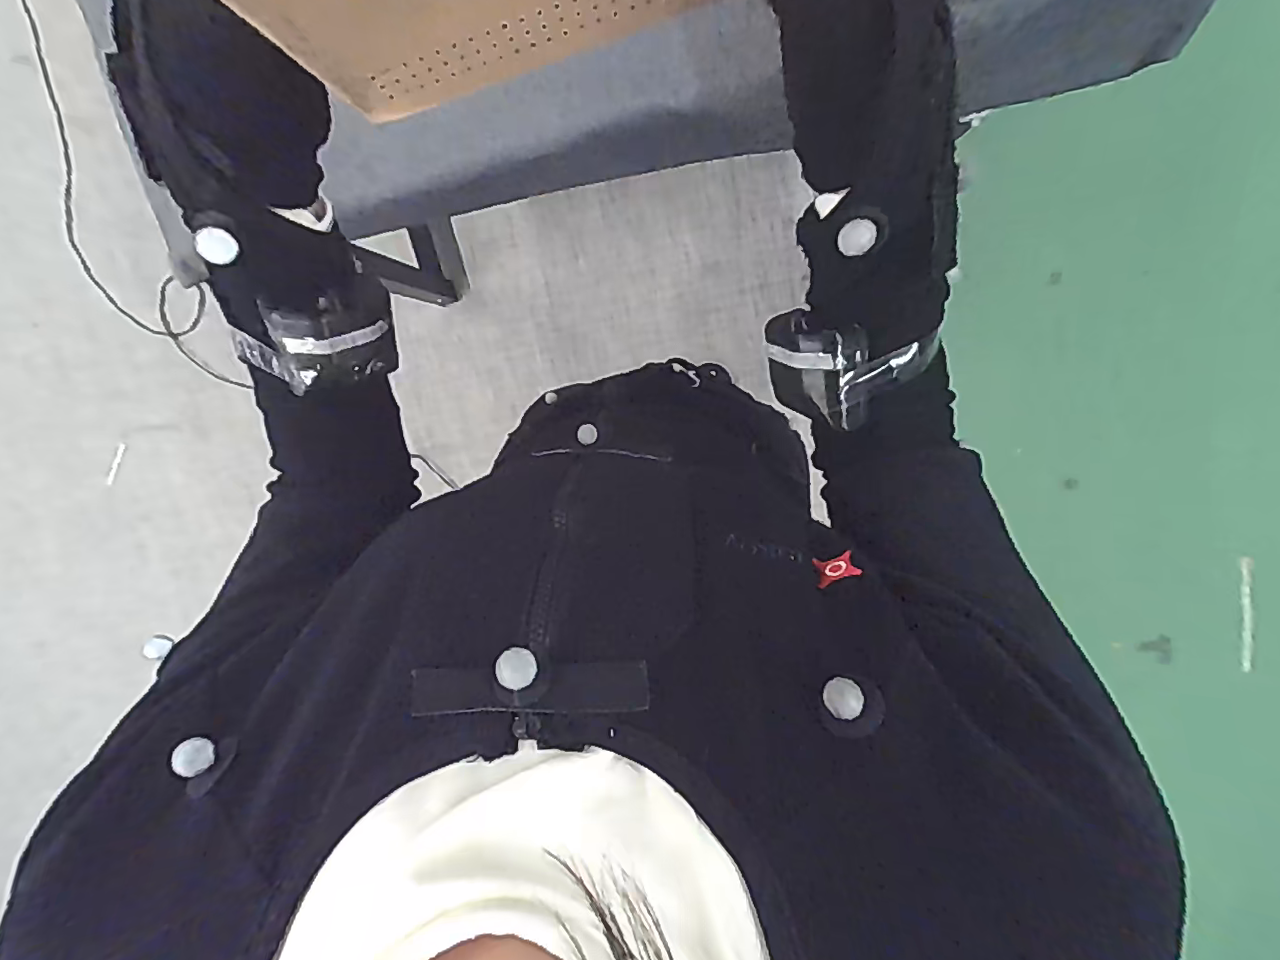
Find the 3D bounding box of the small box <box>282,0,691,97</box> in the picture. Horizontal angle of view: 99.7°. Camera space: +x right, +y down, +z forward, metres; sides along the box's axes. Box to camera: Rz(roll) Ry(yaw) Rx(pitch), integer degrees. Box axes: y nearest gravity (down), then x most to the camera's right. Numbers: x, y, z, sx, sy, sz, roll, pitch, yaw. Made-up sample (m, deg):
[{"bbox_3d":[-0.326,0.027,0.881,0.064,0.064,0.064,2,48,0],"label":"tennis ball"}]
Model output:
[{"bbox_3d":[-0.051,-0.231,0.121,0.179,0.176,0.168,-15,101,7],"label":"small box"}]
